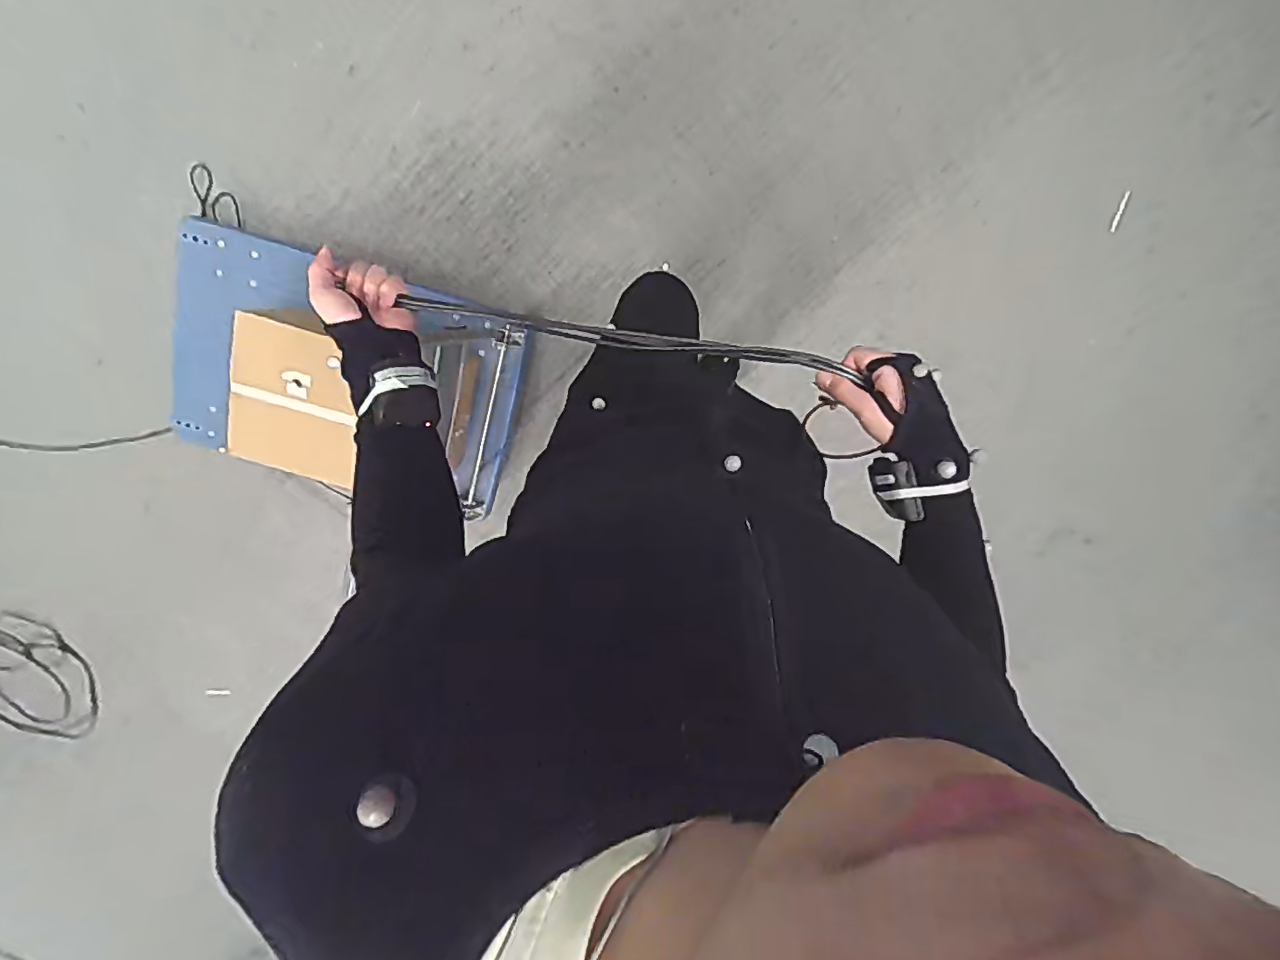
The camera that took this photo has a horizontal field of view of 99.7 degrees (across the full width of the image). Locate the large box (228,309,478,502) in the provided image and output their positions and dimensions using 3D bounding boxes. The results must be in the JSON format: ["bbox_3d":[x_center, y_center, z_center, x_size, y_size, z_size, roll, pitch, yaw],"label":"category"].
[{"bbox_3d":[-0.637,-0.188,1.253,0.408,0.320,0.320,17,107,-3],"label":"large box"}]
